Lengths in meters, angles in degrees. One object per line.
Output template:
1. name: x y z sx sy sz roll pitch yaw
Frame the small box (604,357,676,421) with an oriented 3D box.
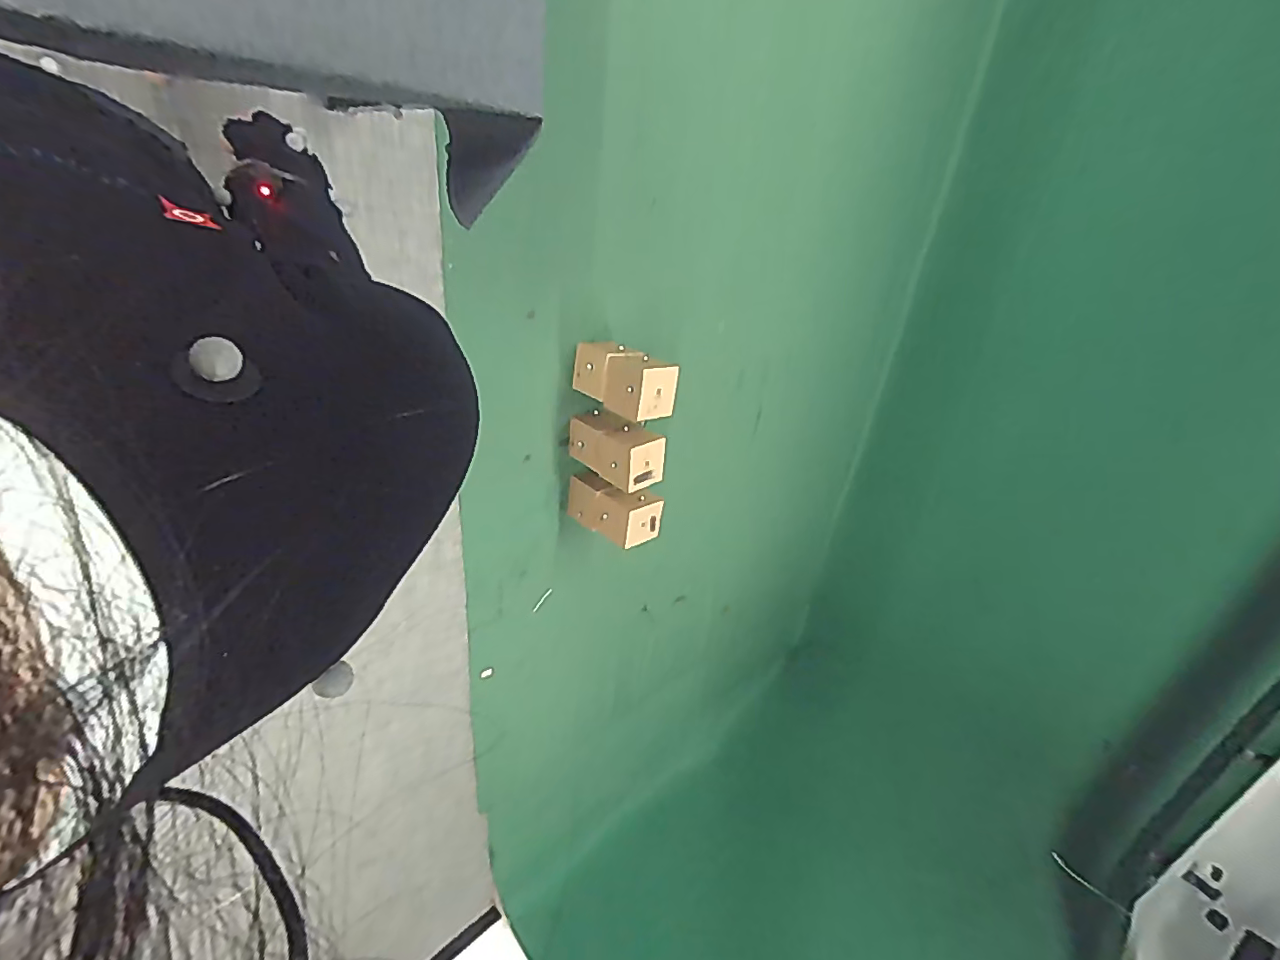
1. small box: -0.004 -0.312 1.809 0.168 0.176 0.179 -15 123 -42

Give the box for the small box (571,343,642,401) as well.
1. small box: -0.123 -0.383 1.901 0.179 0.176 0.168 -14 123 -43

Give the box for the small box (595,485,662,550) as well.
1. small box: -0.046 0.133 2.052 0.179 0.176 0.168 -17 126 -41

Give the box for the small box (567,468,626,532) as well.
1. small box: -0.174 0.075 2.137 0.168 0.176 0.179 -15 125 -42
